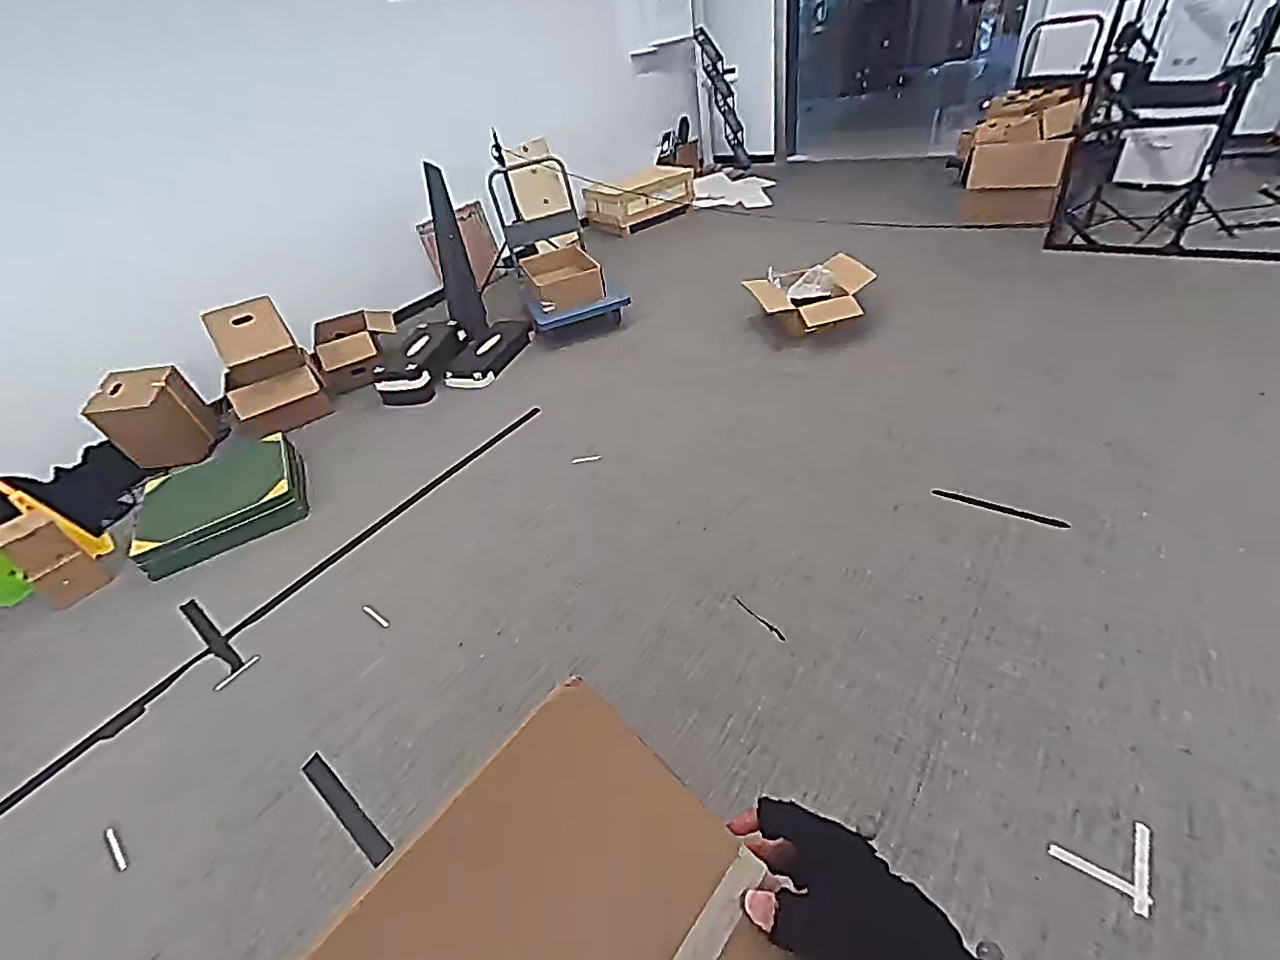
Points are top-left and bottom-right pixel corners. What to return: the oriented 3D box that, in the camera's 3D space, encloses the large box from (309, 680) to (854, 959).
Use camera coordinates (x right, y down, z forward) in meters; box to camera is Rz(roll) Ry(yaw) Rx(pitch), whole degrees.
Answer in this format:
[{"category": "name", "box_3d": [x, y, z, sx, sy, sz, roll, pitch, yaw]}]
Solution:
[{"category": "large box", "box_3d": [-0.097, 0.419, 0.373, 0.320, 0.320, 0.408, 43, 61, 7]}]
